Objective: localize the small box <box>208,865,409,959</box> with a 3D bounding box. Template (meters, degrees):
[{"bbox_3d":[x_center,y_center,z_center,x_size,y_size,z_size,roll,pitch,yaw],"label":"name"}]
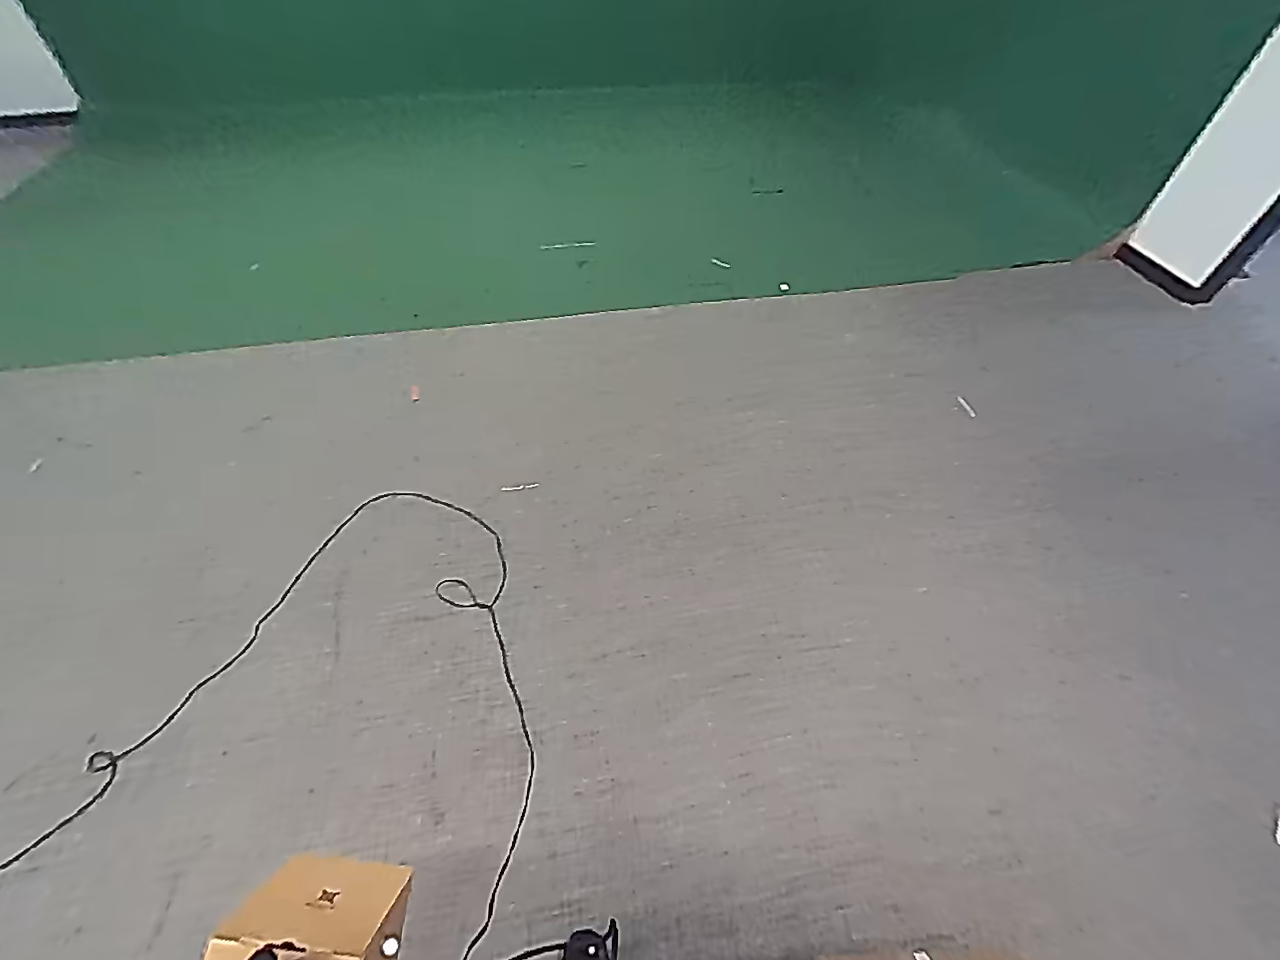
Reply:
[{"bbox_3d":[-0.408,0.613,0.655,0.168,0.179,0.176,9,80,-3],"label":"small box"}]
